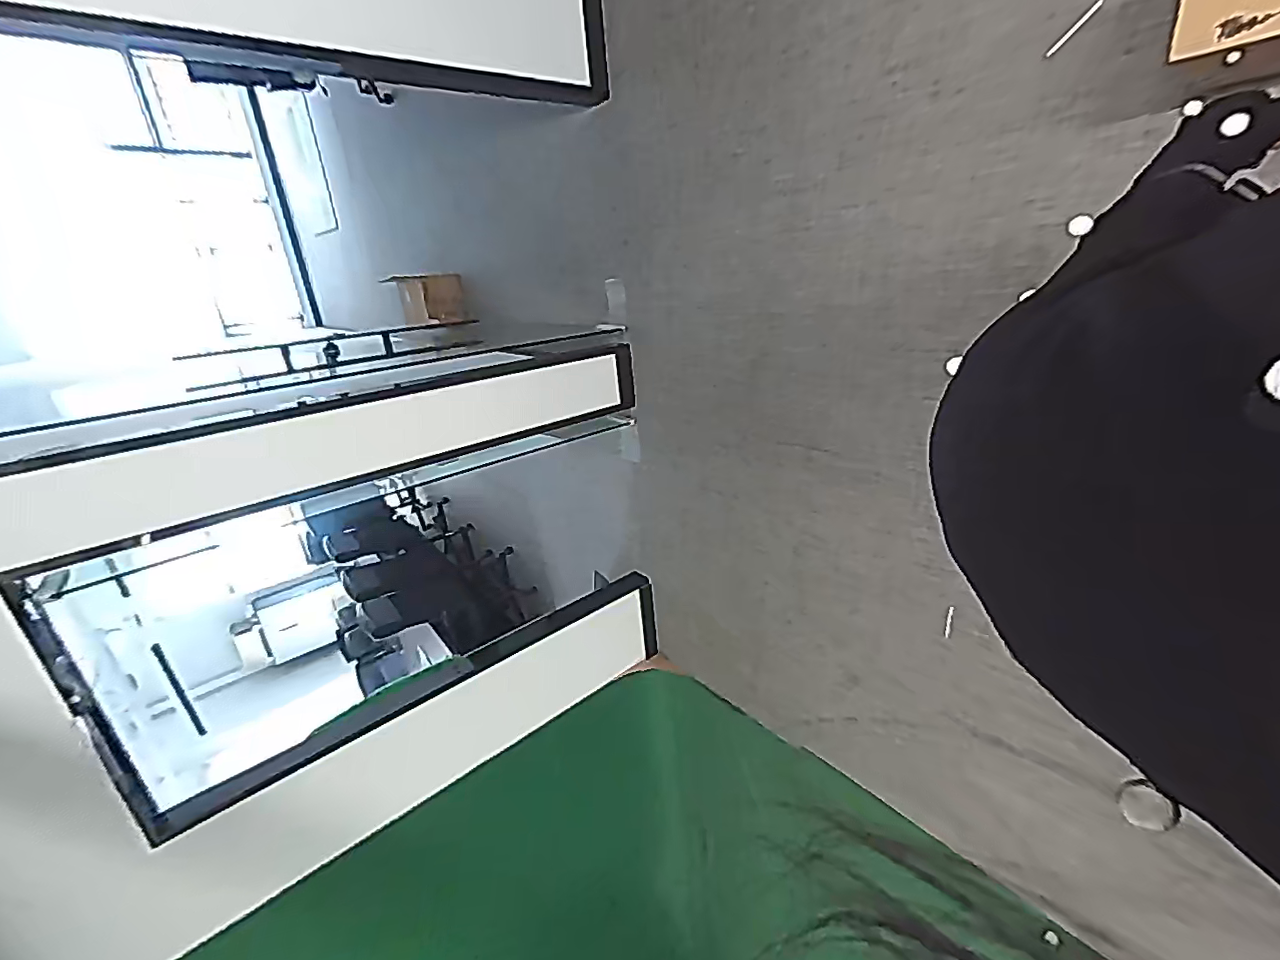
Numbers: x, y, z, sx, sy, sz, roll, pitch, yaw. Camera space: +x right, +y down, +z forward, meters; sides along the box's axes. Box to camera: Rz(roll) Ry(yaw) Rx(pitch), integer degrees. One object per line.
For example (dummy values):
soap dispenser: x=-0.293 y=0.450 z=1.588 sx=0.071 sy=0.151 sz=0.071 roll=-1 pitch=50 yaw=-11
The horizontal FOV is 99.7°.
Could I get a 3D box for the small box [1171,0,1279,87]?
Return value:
small box: x=0.859 y=-0.663 z=0.723 sx=0.168 sy=0.176 sz=0.179 roll=21 pitch=121 yaw=47
